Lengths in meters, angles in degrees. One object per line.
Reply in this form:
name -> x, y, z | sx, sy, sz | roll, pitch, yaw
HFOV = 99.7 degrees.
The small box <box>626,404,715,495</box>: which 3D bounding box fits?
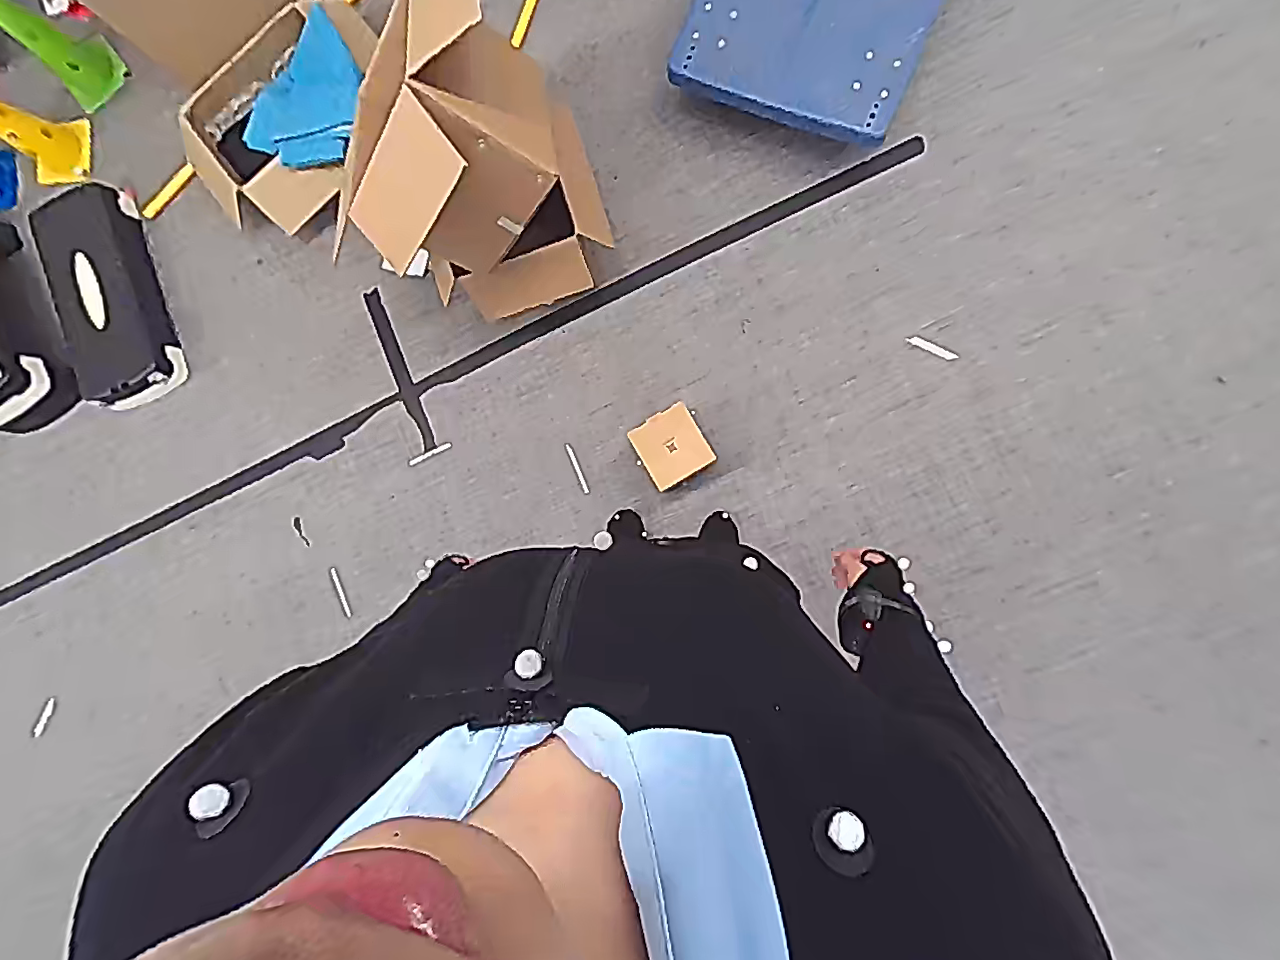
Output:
small box -> 0.086, -0.075, 1.428 | 0.168, 0.176, 0.179 | -31, 84, 5
